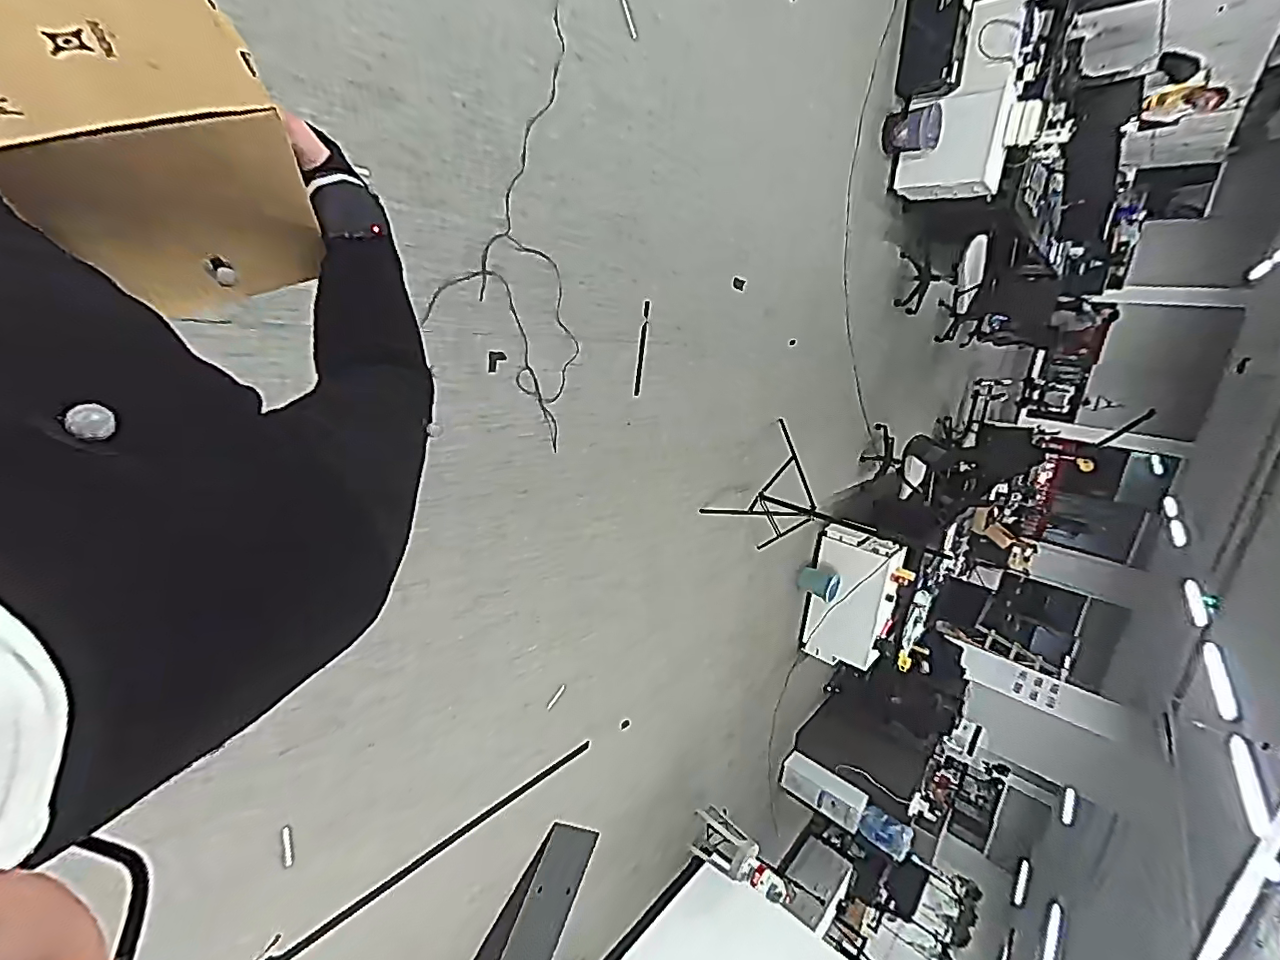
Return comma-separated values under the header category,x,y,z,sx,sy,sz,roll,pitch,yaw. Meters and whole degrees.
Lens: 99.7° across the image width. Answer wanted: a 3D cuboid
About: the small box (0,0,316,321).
category,x,y,z,sx,sy,sz,roll,pitch,yaw
small box,-0.401,-0.267,0.452,0.179,0.168,0.176,-29,168,-25
